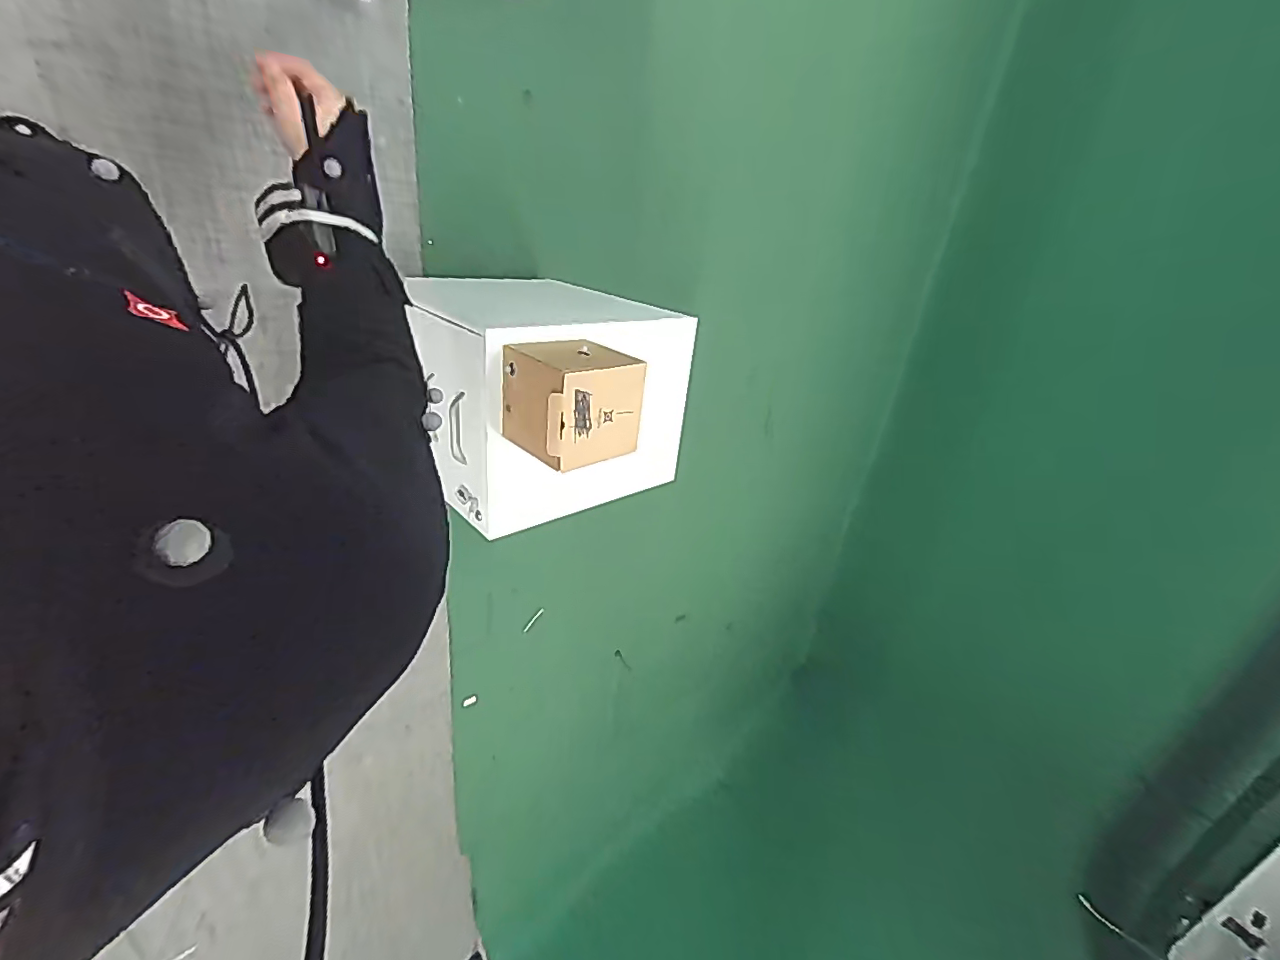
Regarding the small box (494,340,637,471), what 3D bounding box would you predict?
[{"bbox_3d":[-0.132,-0.135,0.918,0.179,0.176,0.168,-19,127,-42],"label":"small box"}]
